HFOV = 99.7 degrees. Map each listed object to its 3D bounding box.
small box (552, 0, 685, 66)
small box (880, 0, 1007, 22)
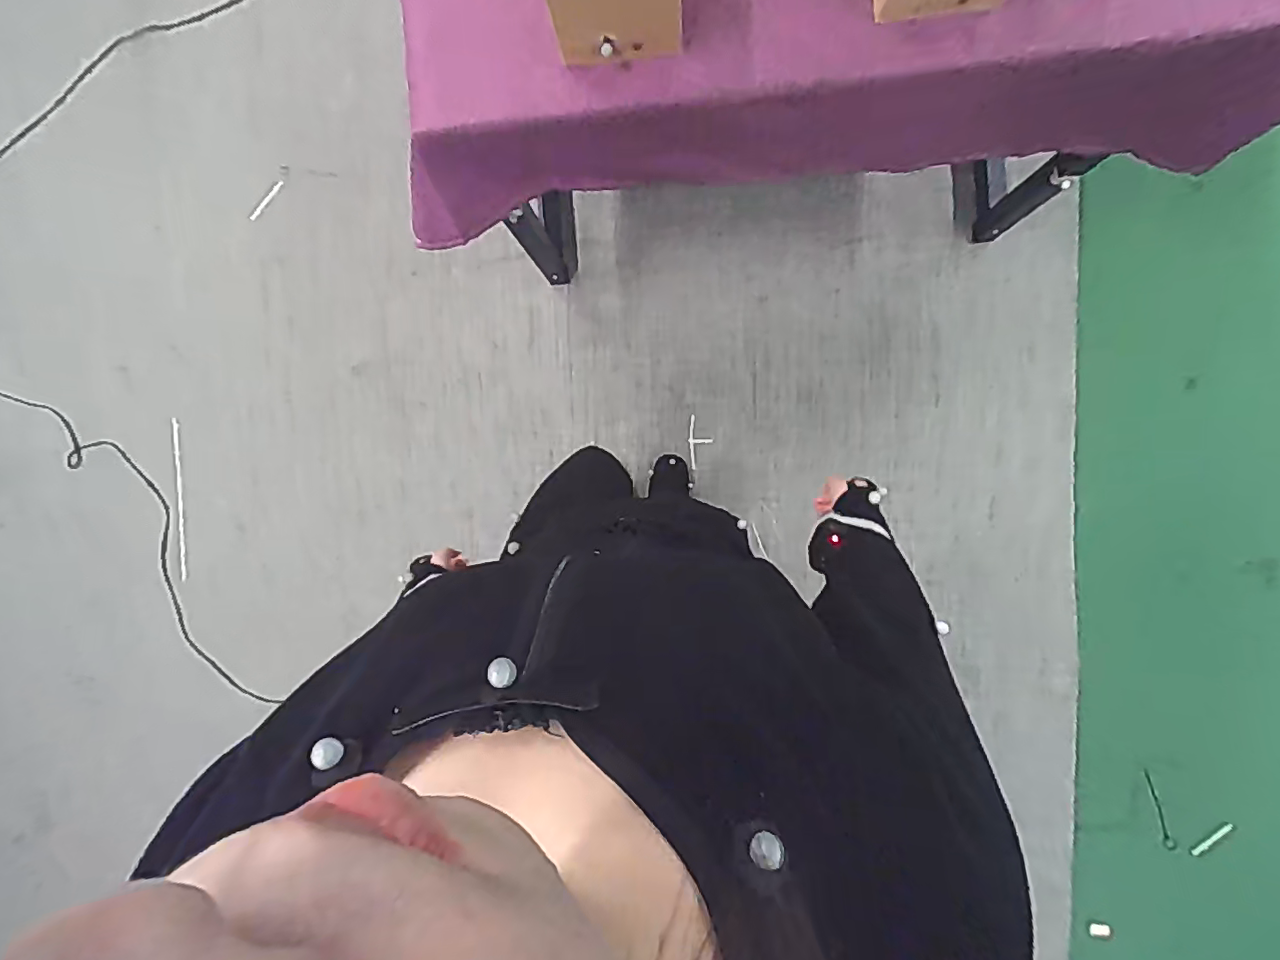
[{"bbox_3d":[-0.030,-0.665,0.669,0.168,0.176,0.179,-2,93,5],"label":"small box"},{"bbox_3d":[0.387,-0.697,0.631,0.168,0.176,0.179,-4,91,6],"label":"small box"}]
